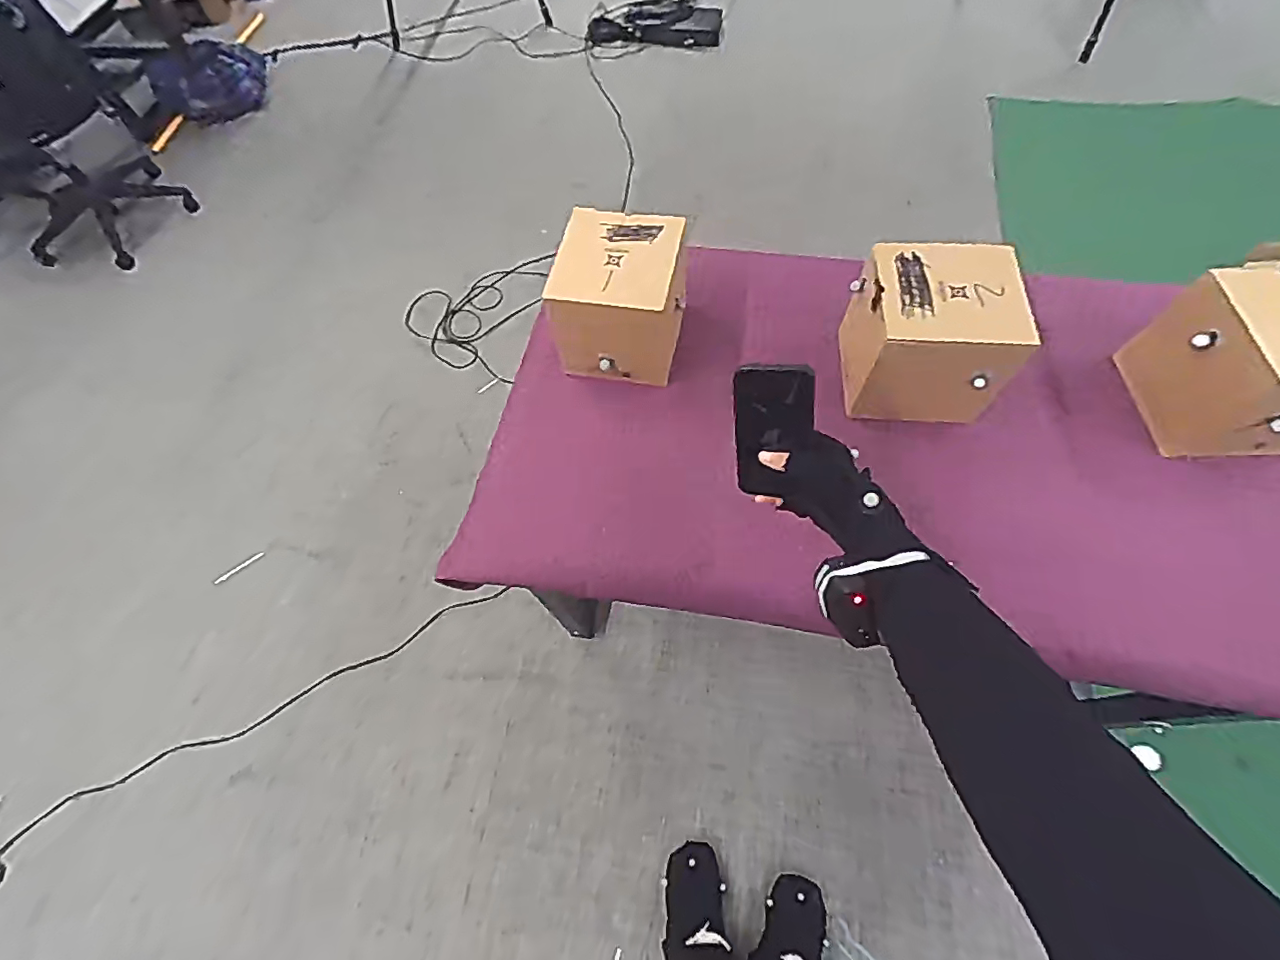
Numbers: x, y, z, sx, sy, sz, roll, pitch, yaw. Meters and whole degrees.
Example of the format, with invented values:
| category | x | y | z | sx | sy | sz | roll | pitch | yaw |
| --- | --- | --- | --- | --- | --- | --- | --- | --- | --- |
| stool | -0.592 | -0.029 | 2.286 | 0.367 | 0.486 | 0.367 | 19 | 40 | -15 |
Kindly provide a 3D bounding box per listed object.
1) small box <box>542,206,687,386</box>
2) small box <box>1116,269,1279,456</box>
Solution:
| category | x | y | z | sx | sy | sz | roll | pitch | yaw |
| --- | --- | --- | --- | --- | --- | --- | --- | --- | --- |
| small box | -0.028 | -0.267 | 0.798 | 0.168 | 0.176 | 0.179 | 10 | 66 | 9 |
| small box | 0.768 | -0.140 | 0.681 | 0.168 | 0.176 | 0.179 | -1 | 63 | 4 |
